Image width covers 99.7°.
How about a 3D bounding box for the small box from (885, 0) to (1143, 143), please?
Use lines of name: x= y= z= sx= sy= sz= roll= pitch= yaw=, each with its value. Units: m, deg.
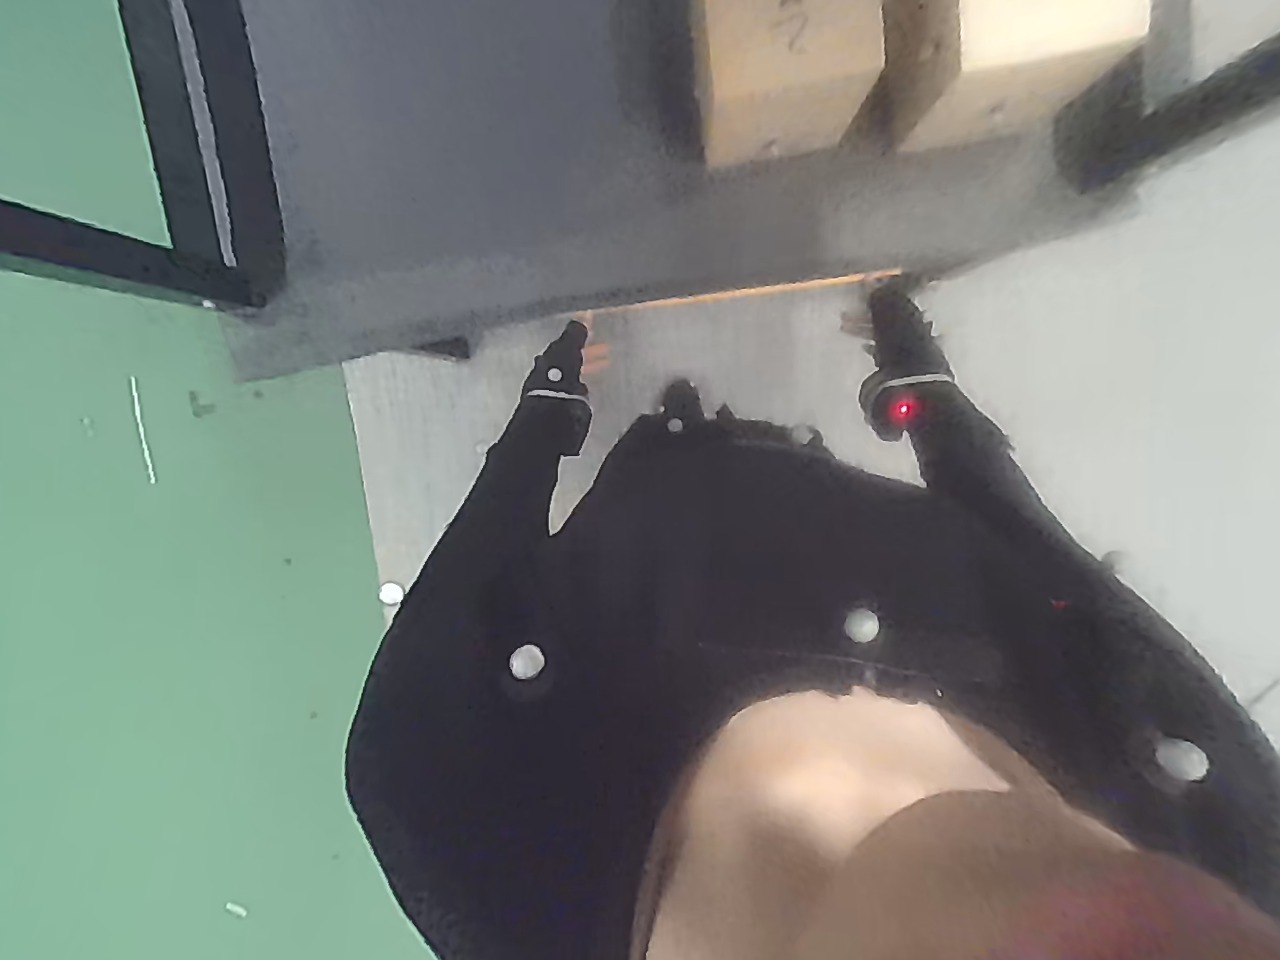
small box: x=0.377 y=-0.489 z=0.574 sx=0.168 sy=0.176 sz=0.179 roll=-7 pitch=96 yaw=6
